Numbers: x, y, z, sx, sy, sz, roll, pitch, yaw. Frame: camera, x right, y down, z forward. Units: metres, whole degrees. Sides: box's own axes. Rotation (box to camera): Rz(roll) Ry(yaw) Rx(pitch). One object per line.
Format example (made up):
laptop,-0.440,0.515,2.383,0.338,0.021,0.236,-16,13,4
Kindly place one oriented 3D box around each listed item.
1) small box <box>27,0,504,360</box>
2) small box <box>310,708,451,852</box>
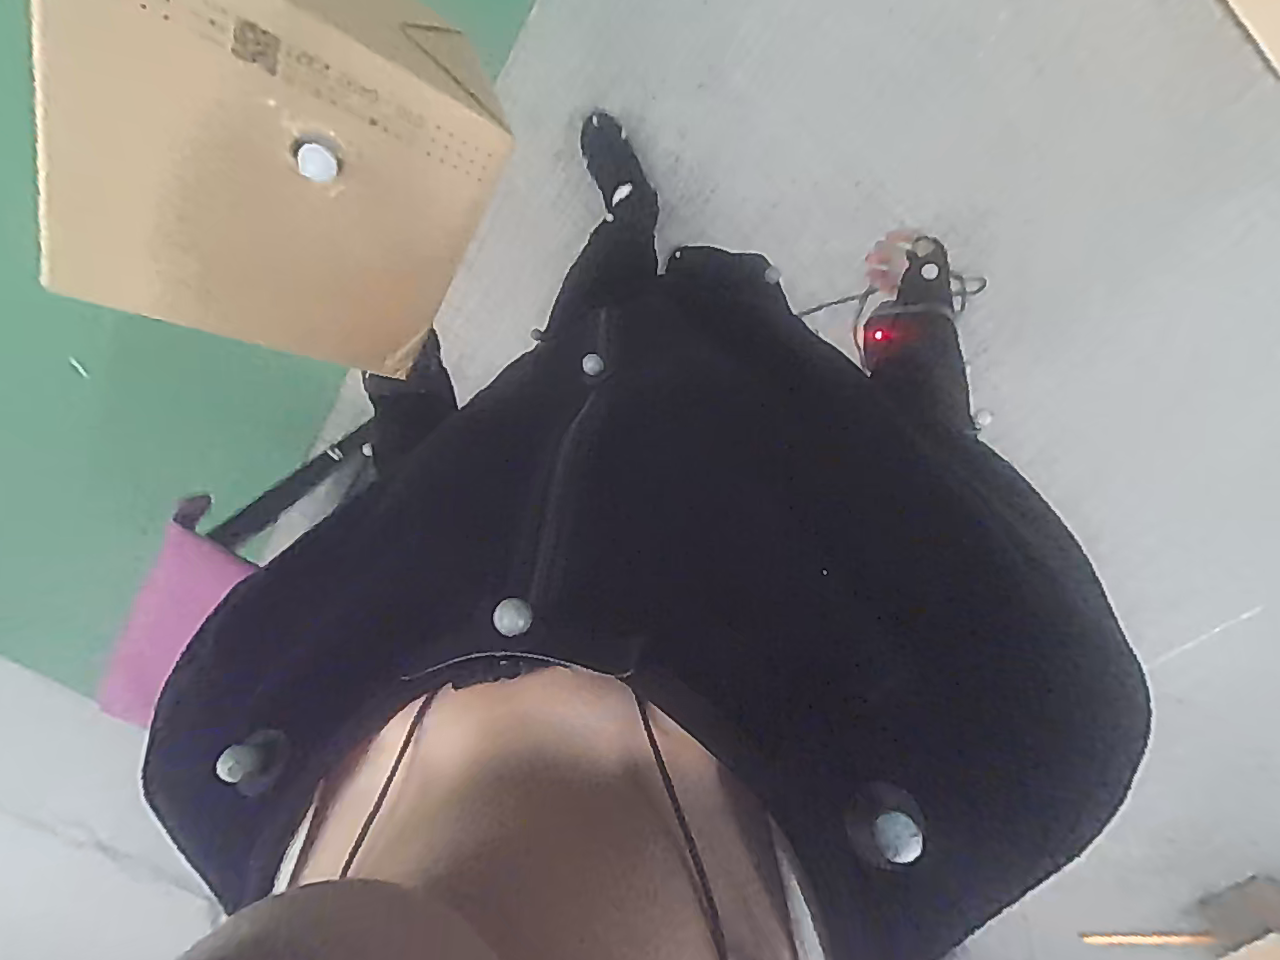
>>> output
small box,-0.193,-0.204,0.298,0.168,0.179,0.176,11,133,-40
small box,-0.502,0.589,1.072,0.168,0.176,0.179,35,118,-12
